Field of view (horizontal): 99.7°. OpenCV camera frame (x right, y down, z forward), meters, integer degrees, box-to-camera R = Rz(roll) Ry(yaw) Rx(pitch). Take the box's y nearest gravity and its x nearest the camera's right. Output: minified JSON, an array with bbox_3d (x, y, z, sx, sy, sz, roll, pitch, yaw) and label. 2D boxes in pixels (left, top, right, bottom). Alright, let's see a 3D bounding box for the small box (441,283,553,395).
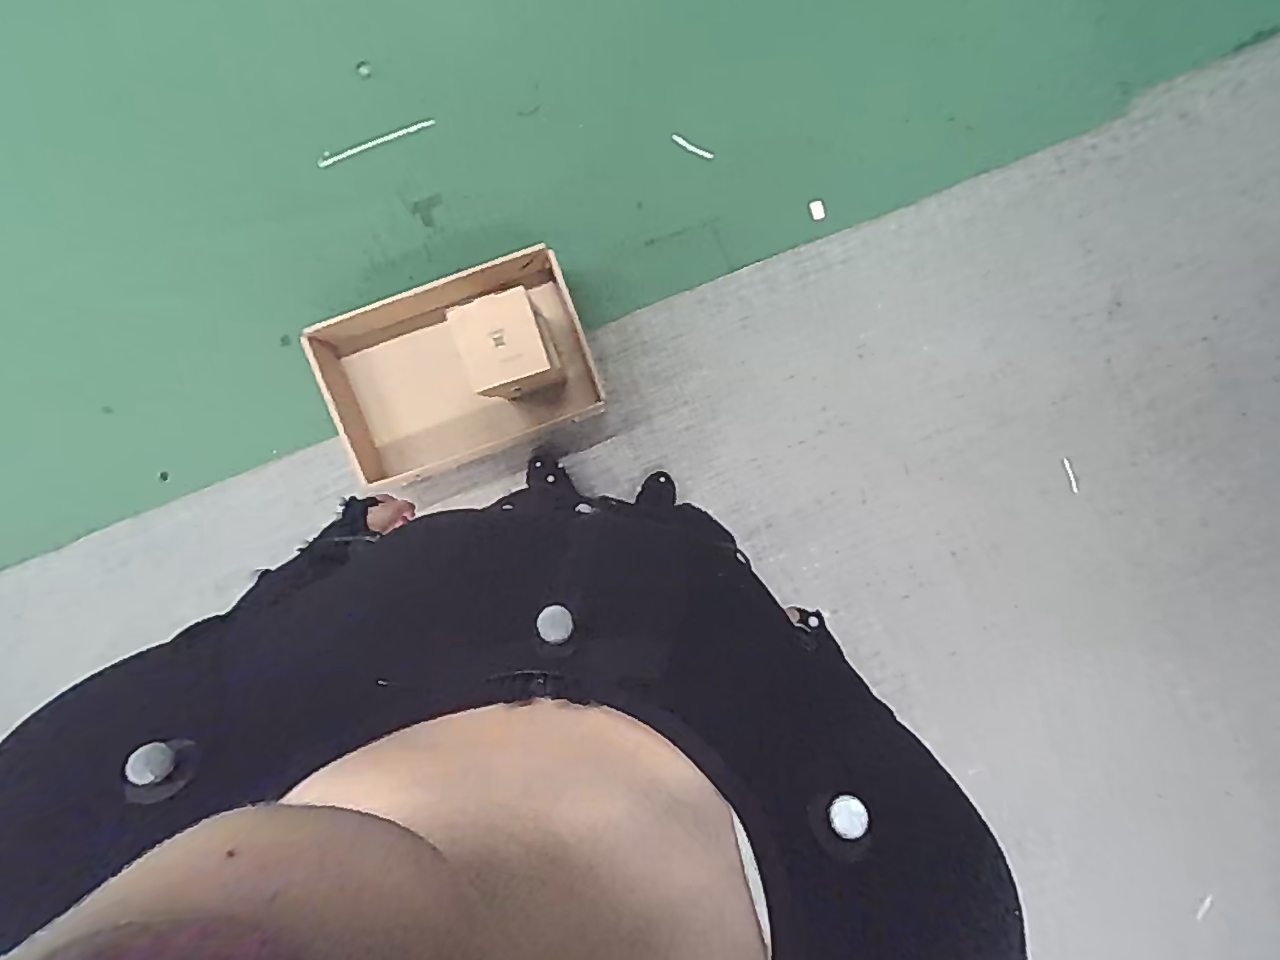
[{"bbox_3d":[-0.293,-0.290,1.147,0.168,0.176,0.179,-19,96,-1],"label":"small box"}]
